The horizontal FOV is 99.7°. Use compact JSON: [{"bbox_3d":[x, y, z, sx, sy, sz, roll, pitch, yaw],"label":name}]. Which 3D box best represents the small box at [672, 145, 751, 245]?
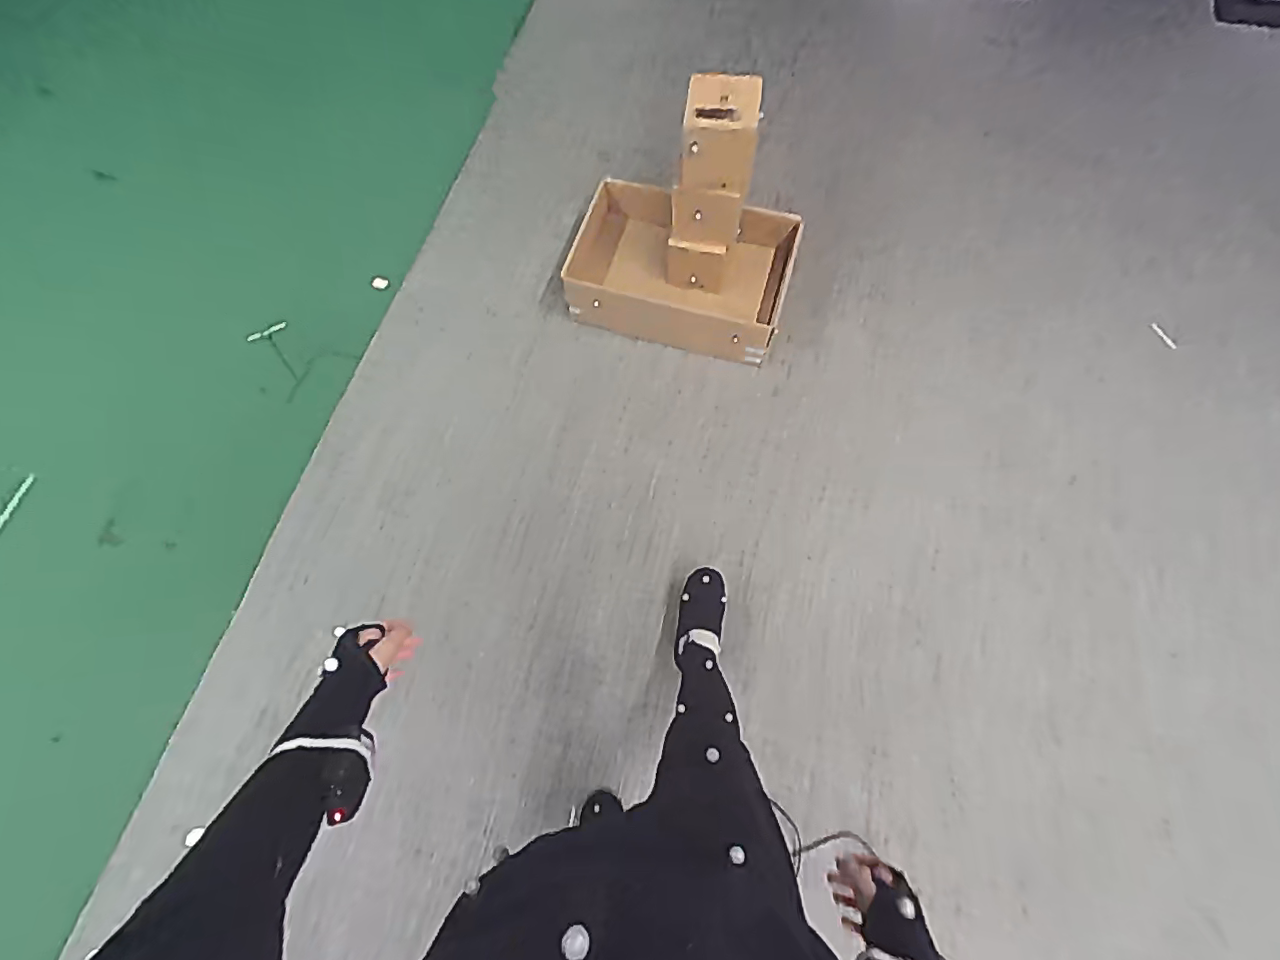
[{"bbox_3d":[0.189,-0.753,1.437,0.179,0.176,0.168,11,72,9],"label":"small box"}]

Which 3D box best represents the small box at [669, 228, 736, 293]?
[{"bbox_3d":[0.189,-0.683,1.587,0.168,0.176,0.179,15,73,11],"label":"small box"}]
